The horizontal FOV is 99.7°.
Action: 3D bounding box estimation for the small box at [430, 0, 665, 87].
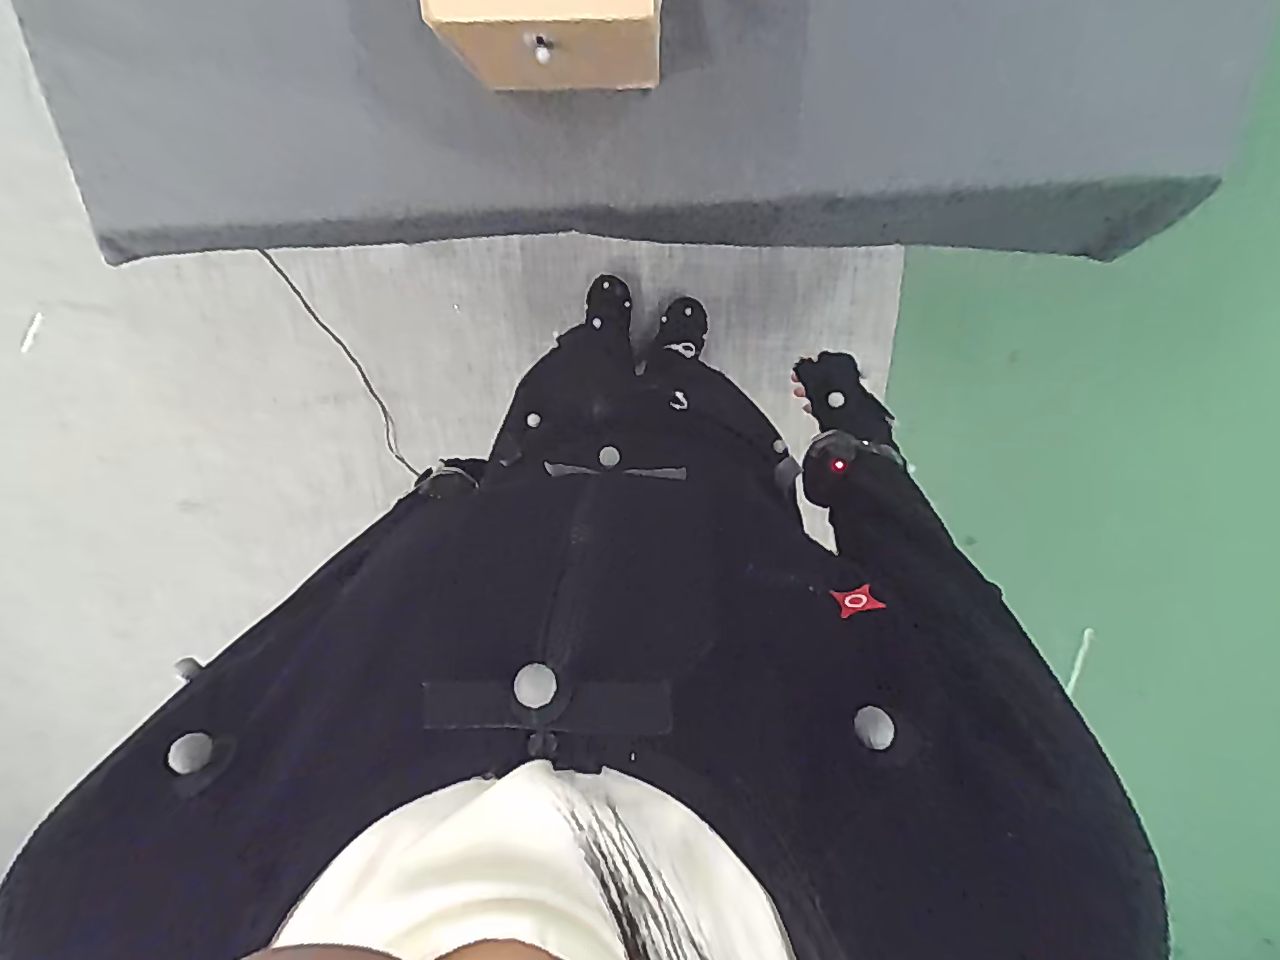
[{"bbox_3d":[-0.068,-0.452,0.454,0.179,0.176,0.168,1,111,3],"label":"small box"}]
